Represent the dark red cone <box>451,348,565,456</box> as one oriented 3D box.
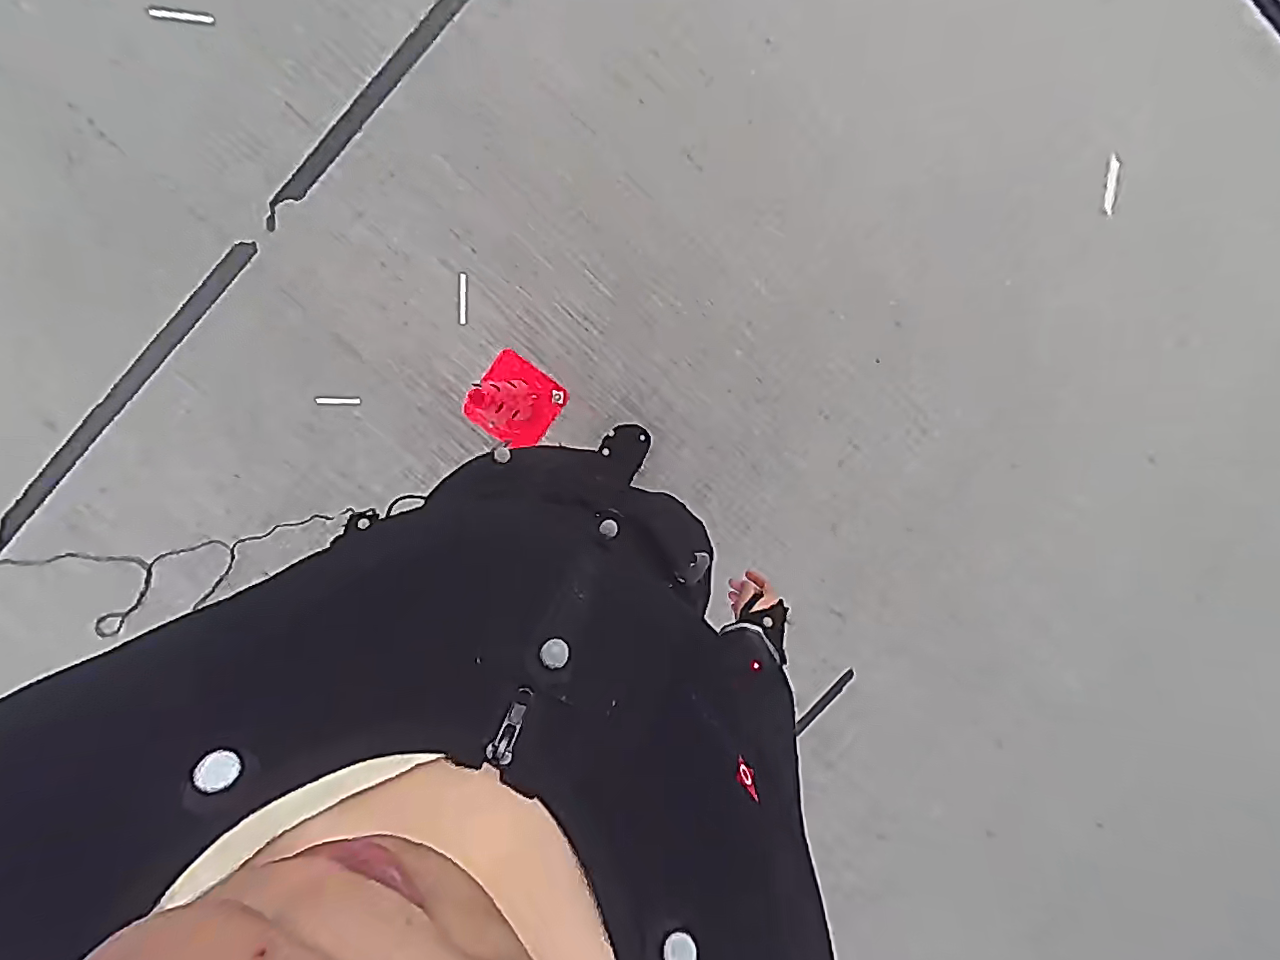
[{"bbox_3d":[-0.304,-0.164,1.124,0.201,0.394,0.202,35,95,-4],"label":"dark red cone"}]
